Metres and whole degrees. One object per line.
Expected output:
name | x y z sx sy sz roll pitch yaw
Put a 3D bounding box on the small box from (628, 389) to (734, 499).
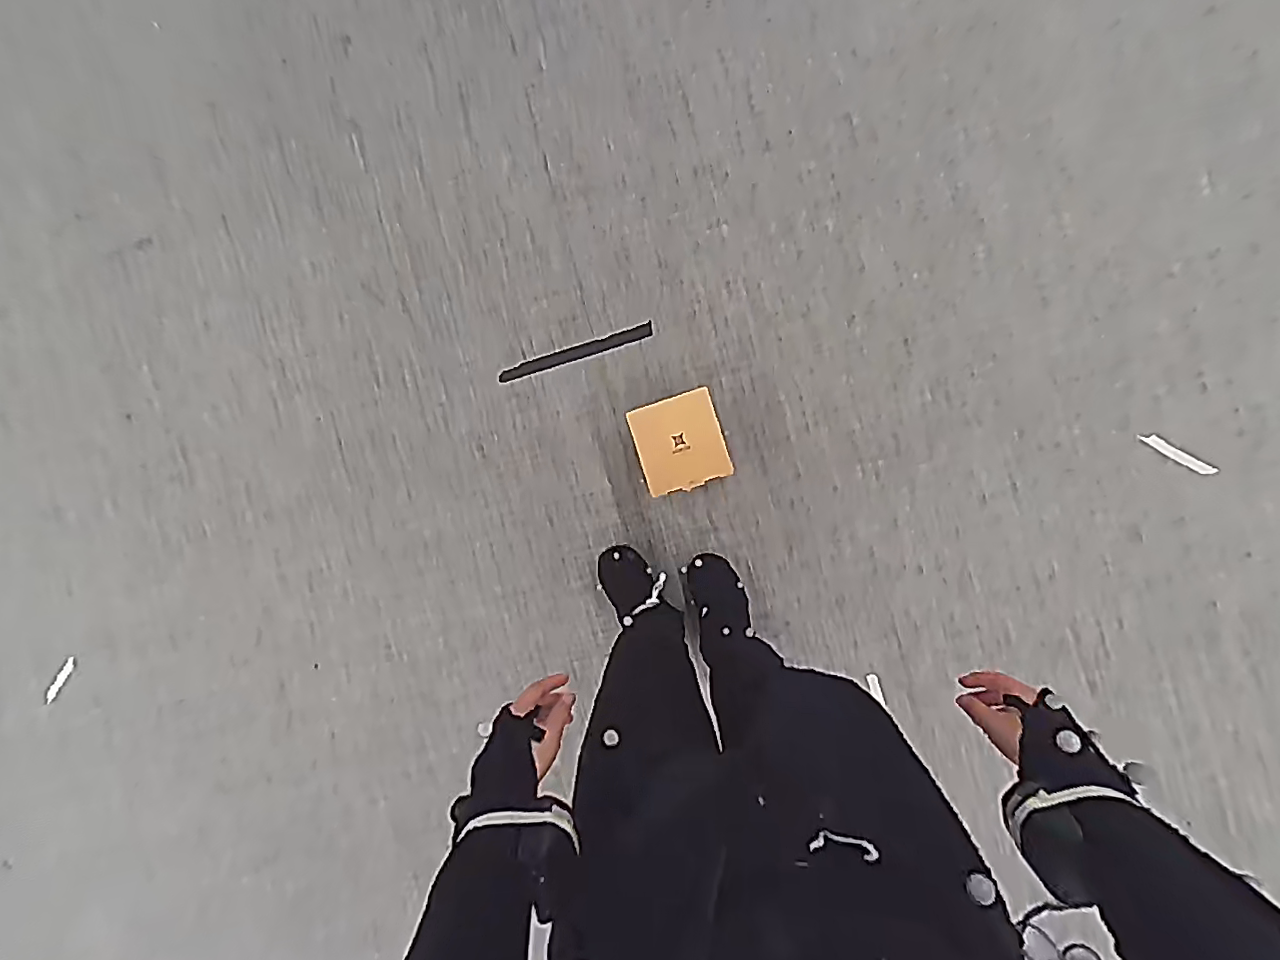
small box | 0.083 -0.069 1.107 0.168 0.176 0.179 -18 90 5
